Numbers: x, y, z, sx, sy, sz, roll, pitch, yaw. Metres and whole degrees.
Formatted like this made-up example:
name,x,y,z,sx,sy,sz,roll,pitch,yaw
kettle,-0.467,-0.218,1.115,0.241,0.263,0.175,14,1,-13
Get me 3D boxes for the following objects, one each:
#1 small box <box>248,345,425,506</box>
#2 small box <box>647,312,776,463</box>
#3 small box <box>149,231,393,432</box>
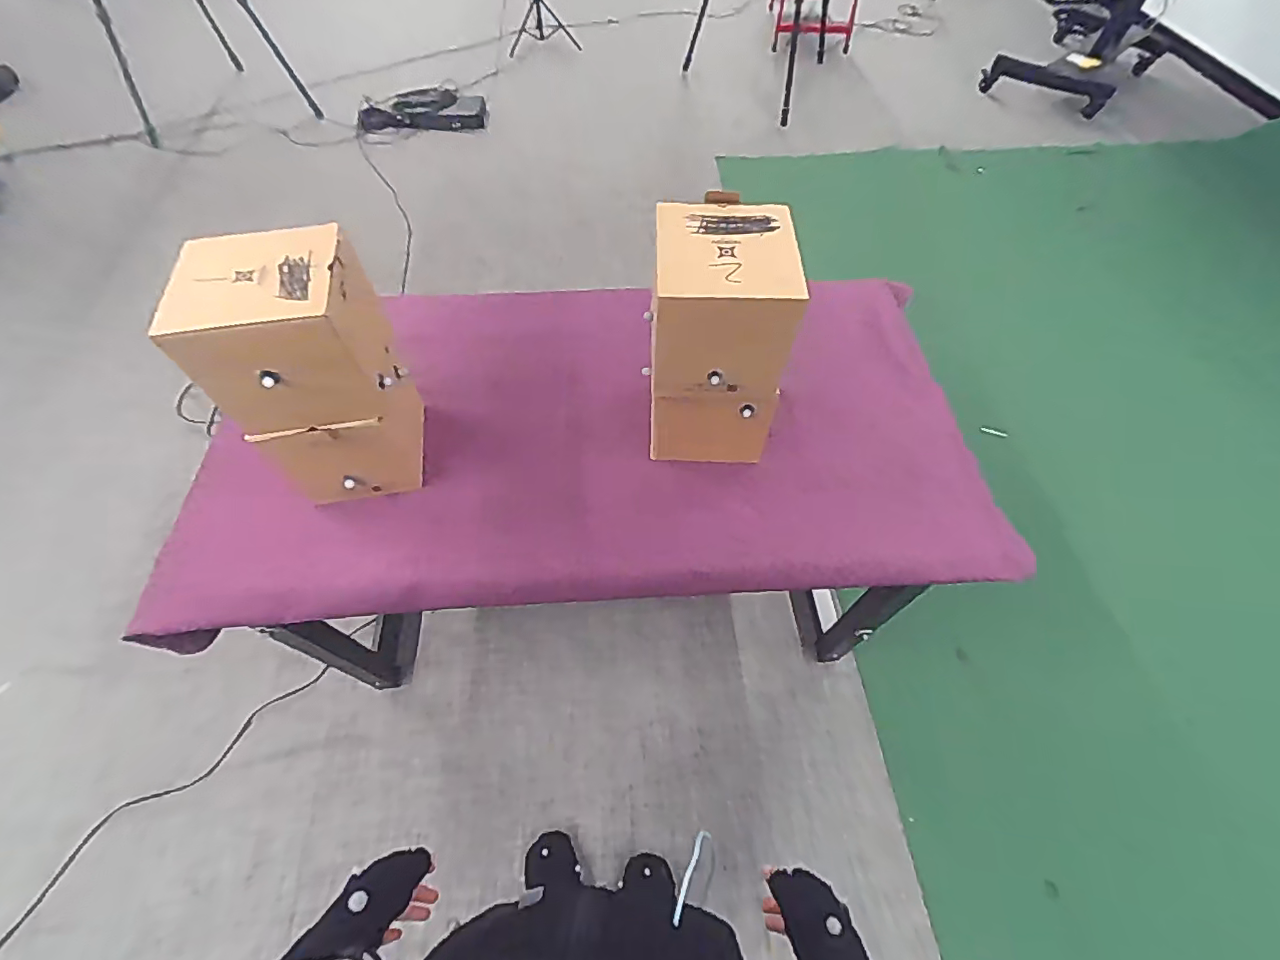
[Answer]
name,x,y,z,sx,sy,sz,roll,pitch,yaw
small box,-0.431,-0.084,0.804,0.168,0.176,0.179,-9,58,-5
small box,0.101,-0.138,0.838,0.179,0.176,0.168,1,58,1
small box,-0.426,-0.178,0.666,0.179,0.176,0.168,-7,56,-5
